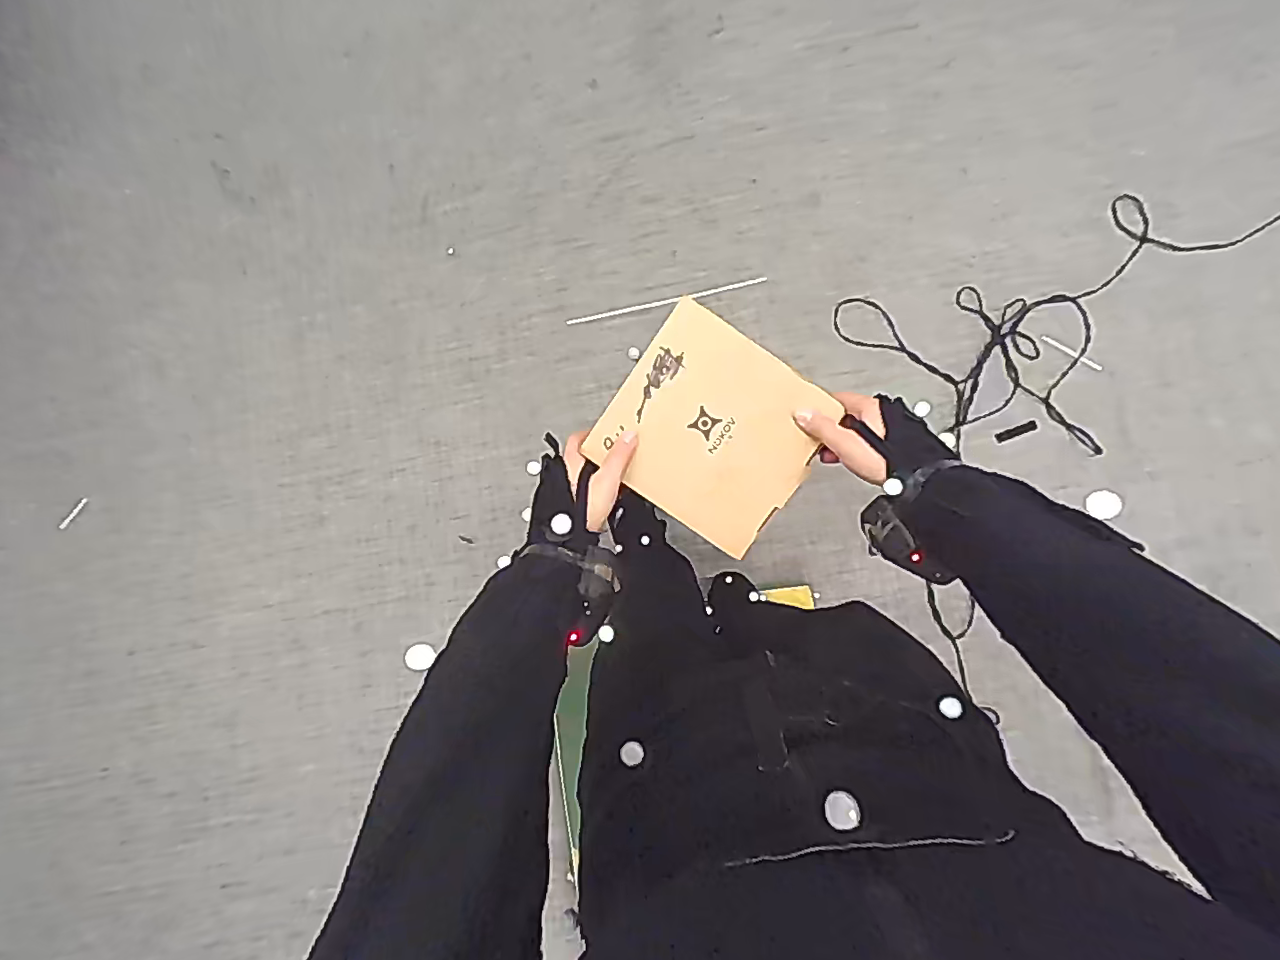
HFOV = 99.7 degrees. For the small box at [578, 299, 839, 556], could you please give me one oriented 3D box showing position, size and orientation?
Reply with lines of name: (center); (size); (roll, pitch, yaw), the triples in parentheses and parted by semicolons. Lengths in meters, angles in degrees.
small box: (0.061, -0.051, 0.555); (0.179, 0.176, 0.168); (35, 93, -2)
